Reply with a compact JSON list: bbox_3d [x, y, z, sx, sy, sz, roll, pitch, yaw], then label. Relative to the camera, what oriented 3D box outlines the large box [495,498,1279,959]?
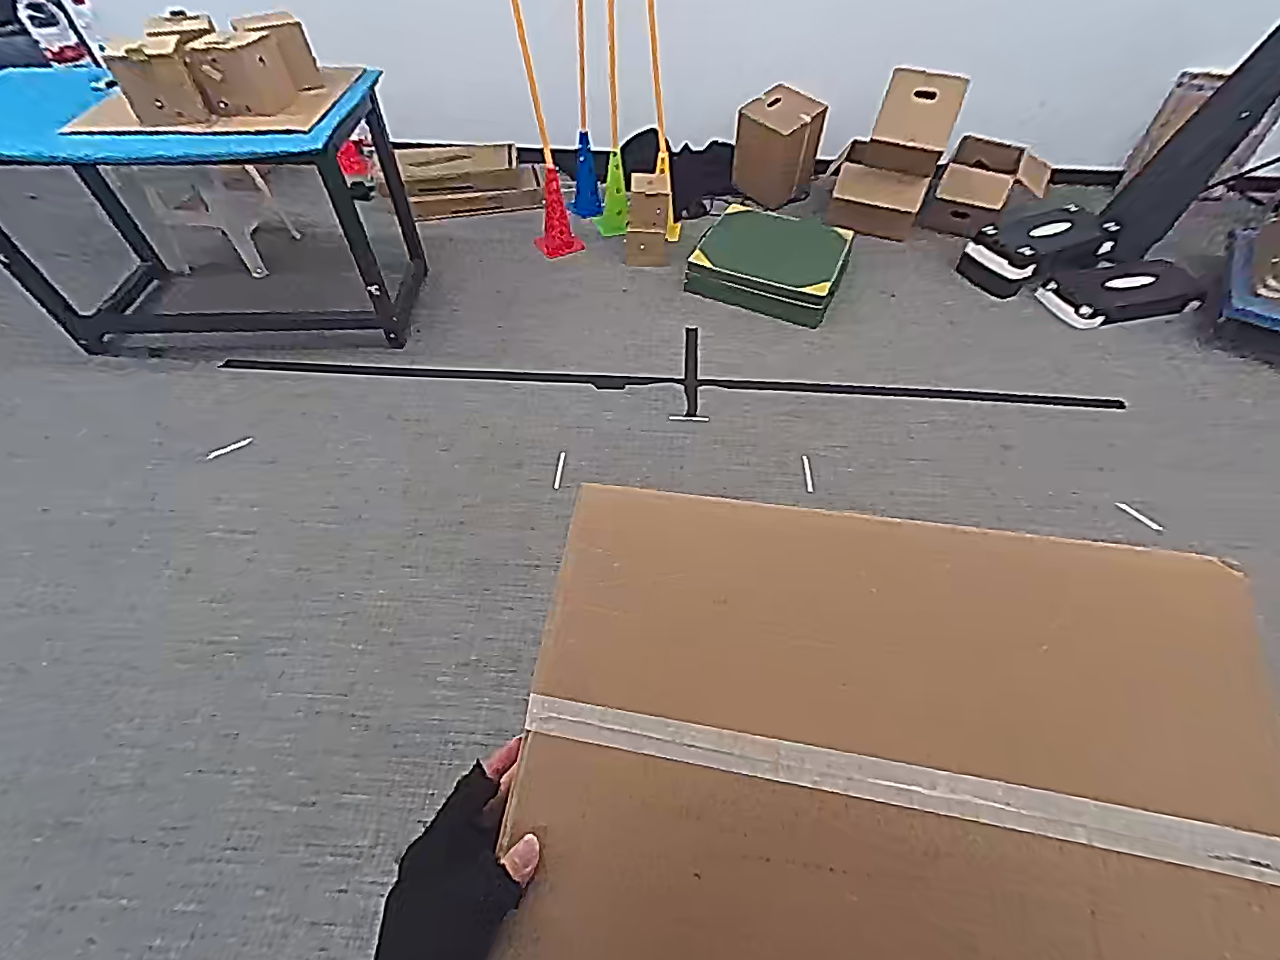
[{"bbox_3d":[0.150,0.228,0.449,0.408,0.320,0.320,6,69,11],"label":"large box"}]
